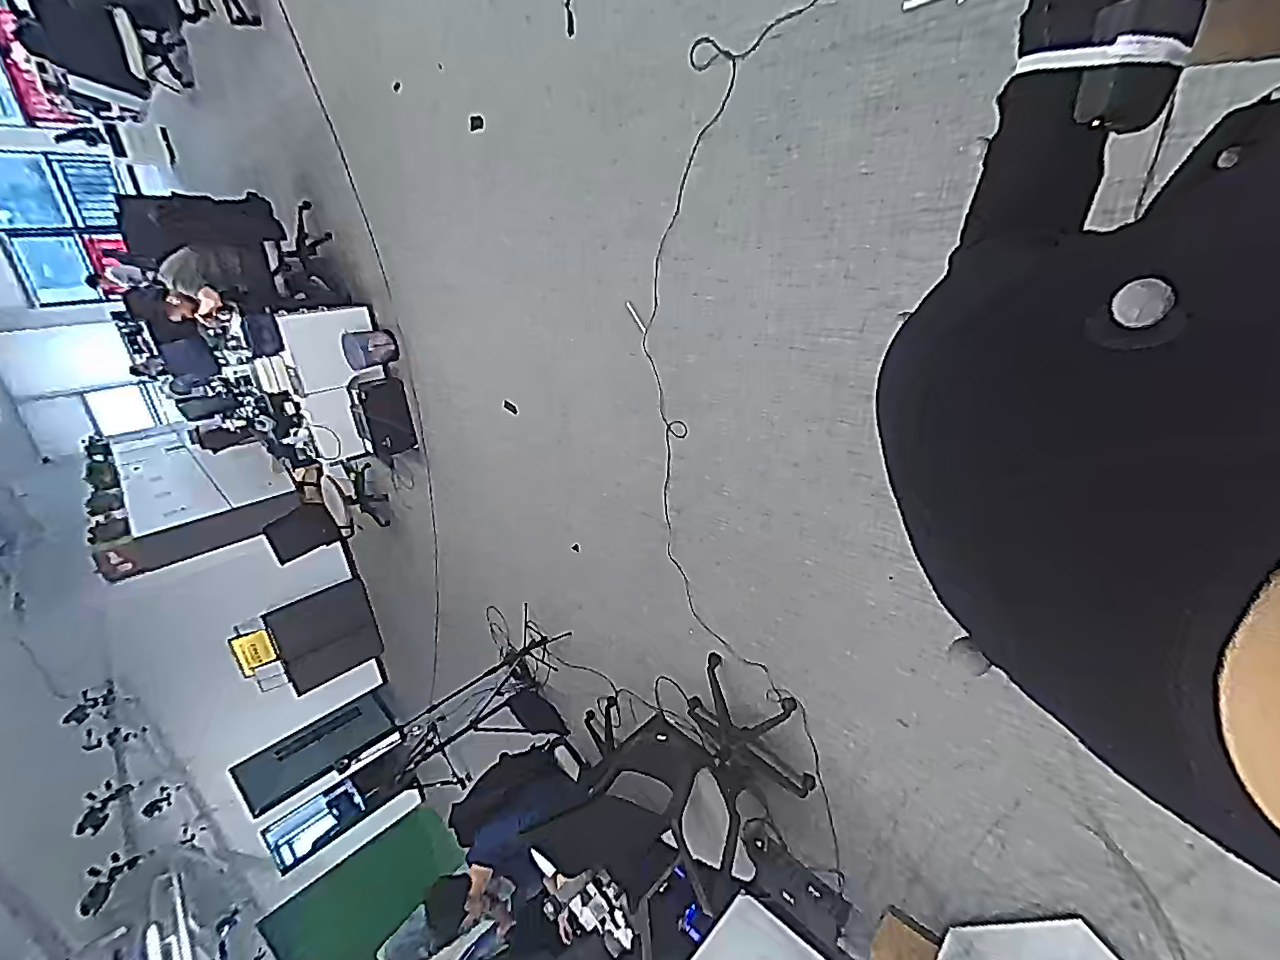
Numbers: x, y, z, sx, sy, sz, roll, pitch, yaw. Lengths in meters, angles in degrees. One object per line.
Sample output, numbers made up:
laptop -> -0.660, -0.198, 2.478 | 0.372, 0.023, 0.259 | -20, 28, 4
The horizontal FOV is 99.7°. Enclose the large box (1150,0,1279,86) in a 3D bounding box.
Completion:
large box -> 0.552, -0.419, 0.248 | 0.408, 0.320, 0.320 | 22, 124, 36
